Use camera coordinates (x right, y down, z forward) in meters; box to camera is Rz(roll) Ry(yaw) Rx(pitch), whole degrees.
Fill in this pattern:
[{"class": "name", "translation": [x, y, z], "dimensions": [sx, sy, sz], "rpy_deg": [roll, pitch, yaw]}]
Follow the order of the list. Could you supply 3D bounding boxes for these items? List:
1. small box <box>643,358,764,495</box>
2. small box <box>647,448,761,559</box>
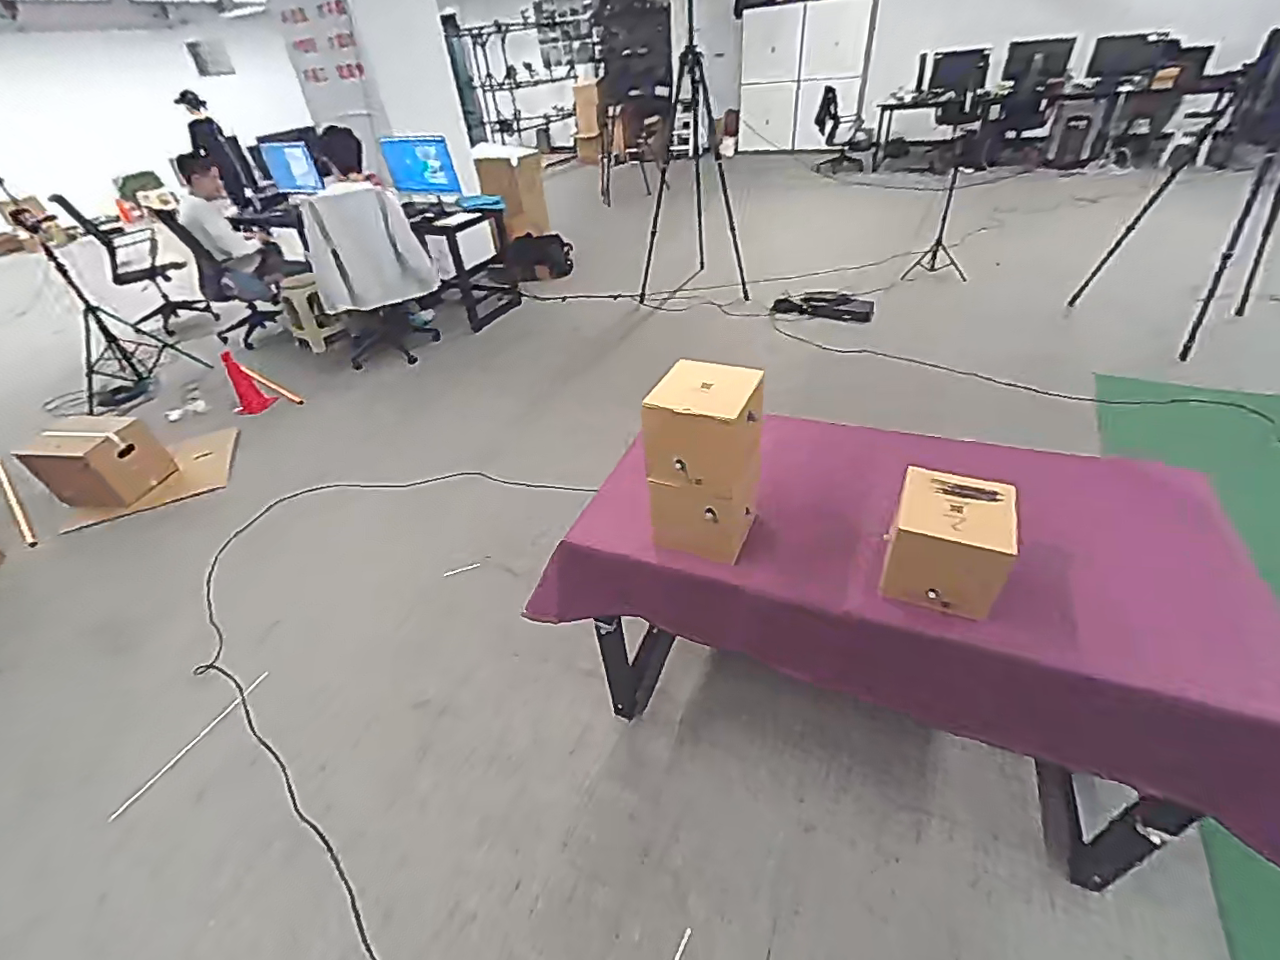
[{"class": "small box", "translation": [0.118, -0.100, 0.987], "dimensions": [0.168, 0.176, 0.179], "rpy_deg": [13, 43, 23]}, {"class": "small box", "translation": [0.132, 0.033, 1.080], "dimensions": [0.179, 0.176, 0.168], "rpy_deg": [13, 42, 23]}]
